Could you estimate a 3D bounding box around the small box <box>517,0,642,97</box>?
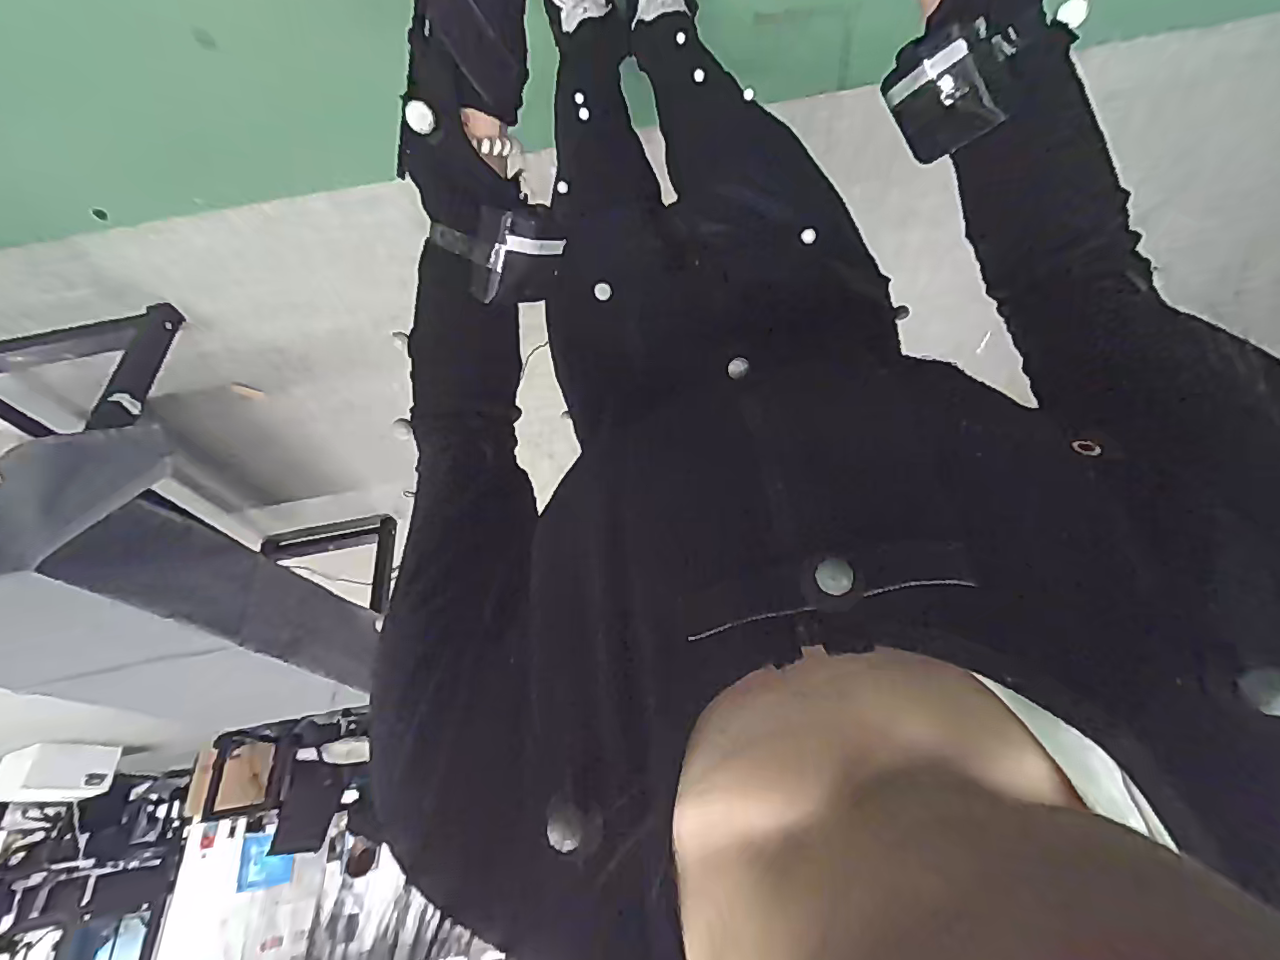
[{"bbox_3d":[-0.098,-0.812,0.922,0.179,0.176,0.168,23,149,-16],"label":"small box"}]
